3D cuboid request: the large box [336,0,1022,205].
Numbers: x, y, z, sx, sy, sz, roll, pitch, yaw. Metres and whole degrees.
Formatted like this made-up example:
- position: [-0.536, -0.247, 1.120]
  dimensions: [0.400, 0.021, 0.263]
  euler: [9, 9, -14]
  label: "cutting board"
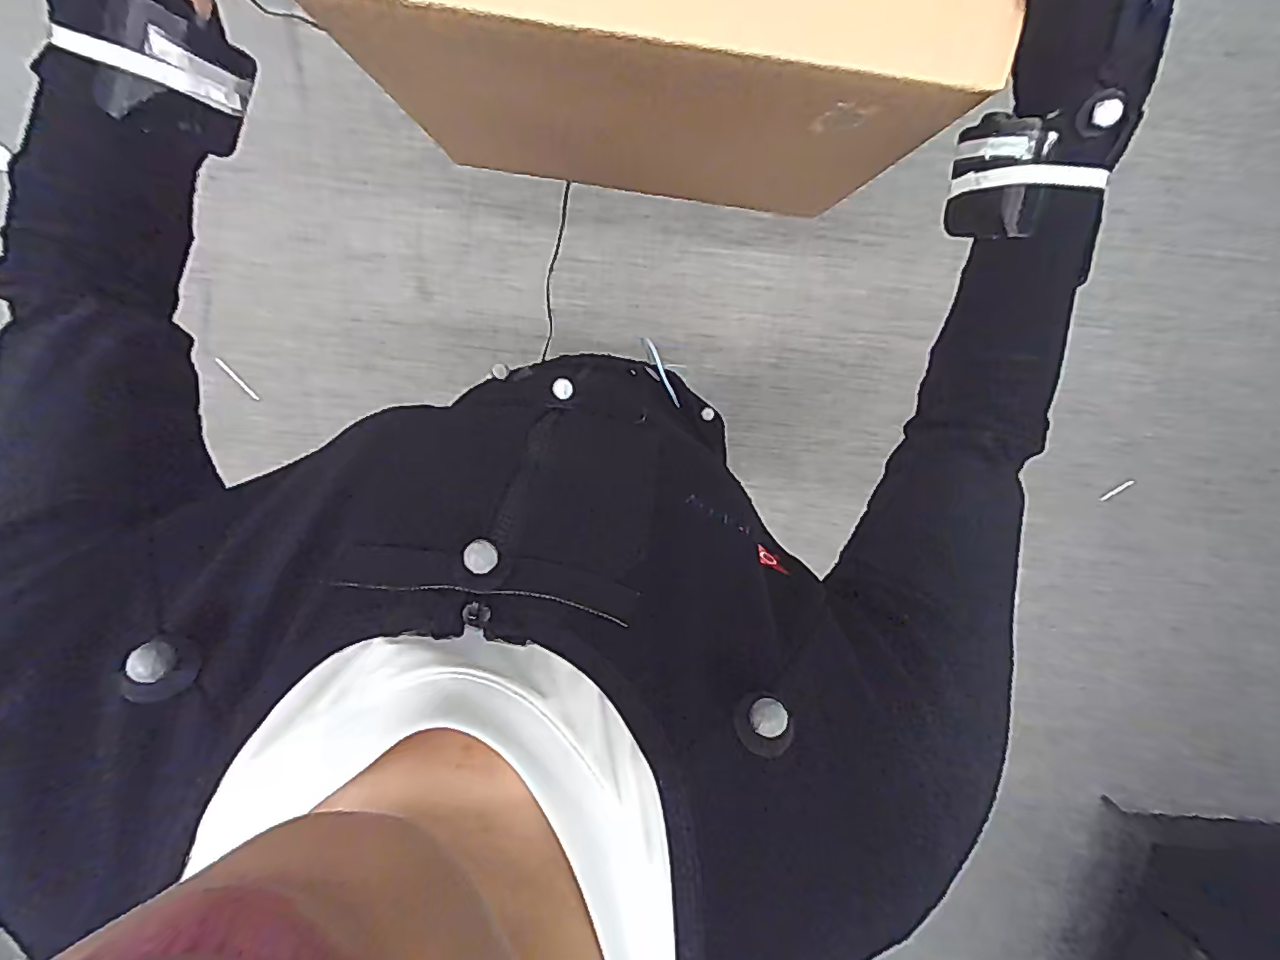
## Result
- position: [0.026, -0.434, 0.412]
  dimensions: [0.408, 0.320, 0.320]
  euler: [6, 105, -4]
  label: "large box"
